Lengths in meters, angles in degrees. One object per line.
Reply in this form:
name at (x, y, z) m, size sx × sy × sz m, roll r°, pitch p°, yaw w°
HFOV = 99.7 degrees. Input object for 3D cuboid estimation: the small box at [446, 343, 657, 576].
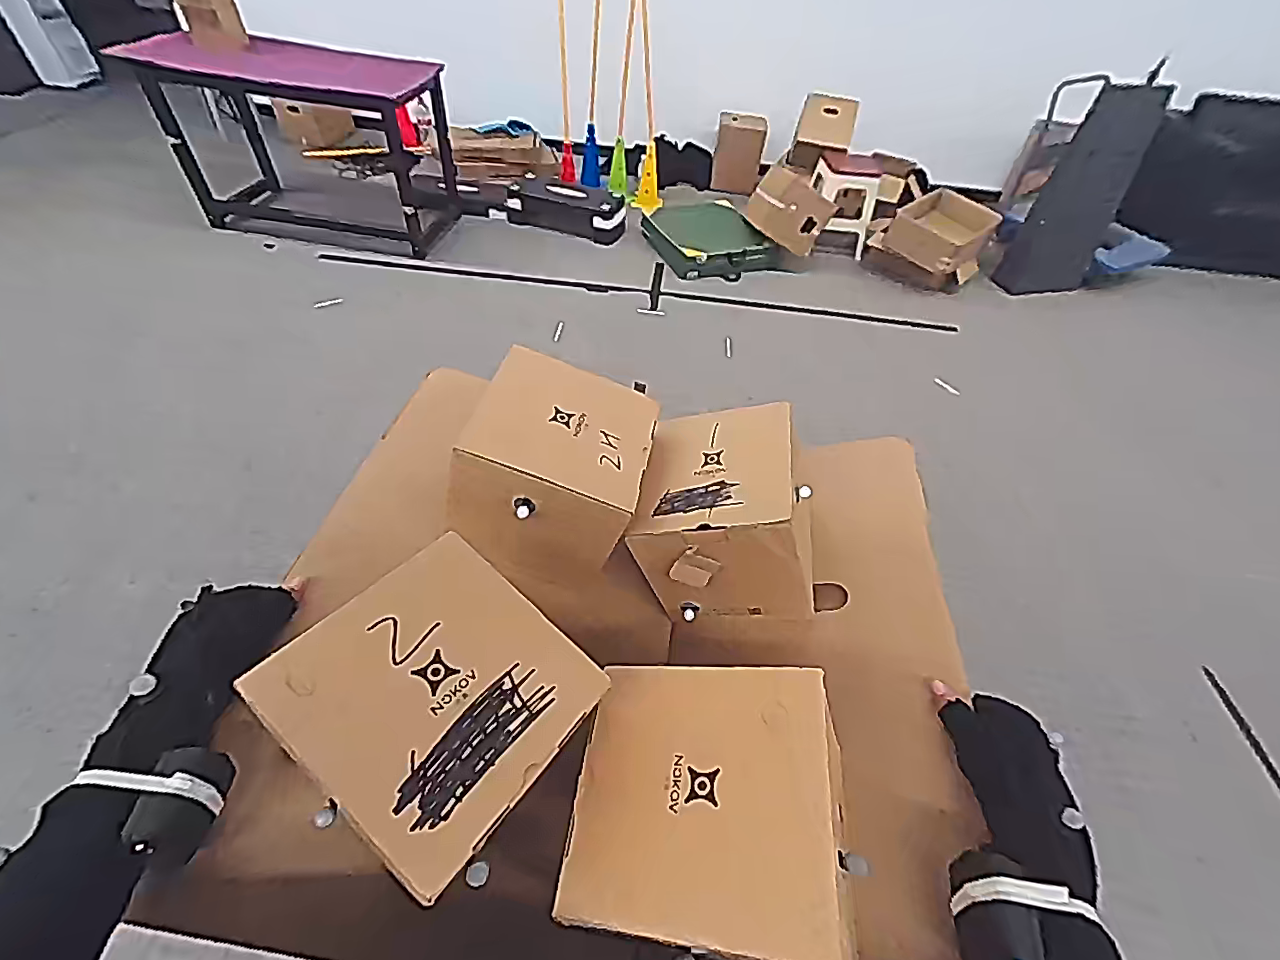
small box at (-0.102, -0.015, 0.608) m, size 0.179 × 0.176 × 0.168 m, roll 21°, pitch 49°, yaw -8°
